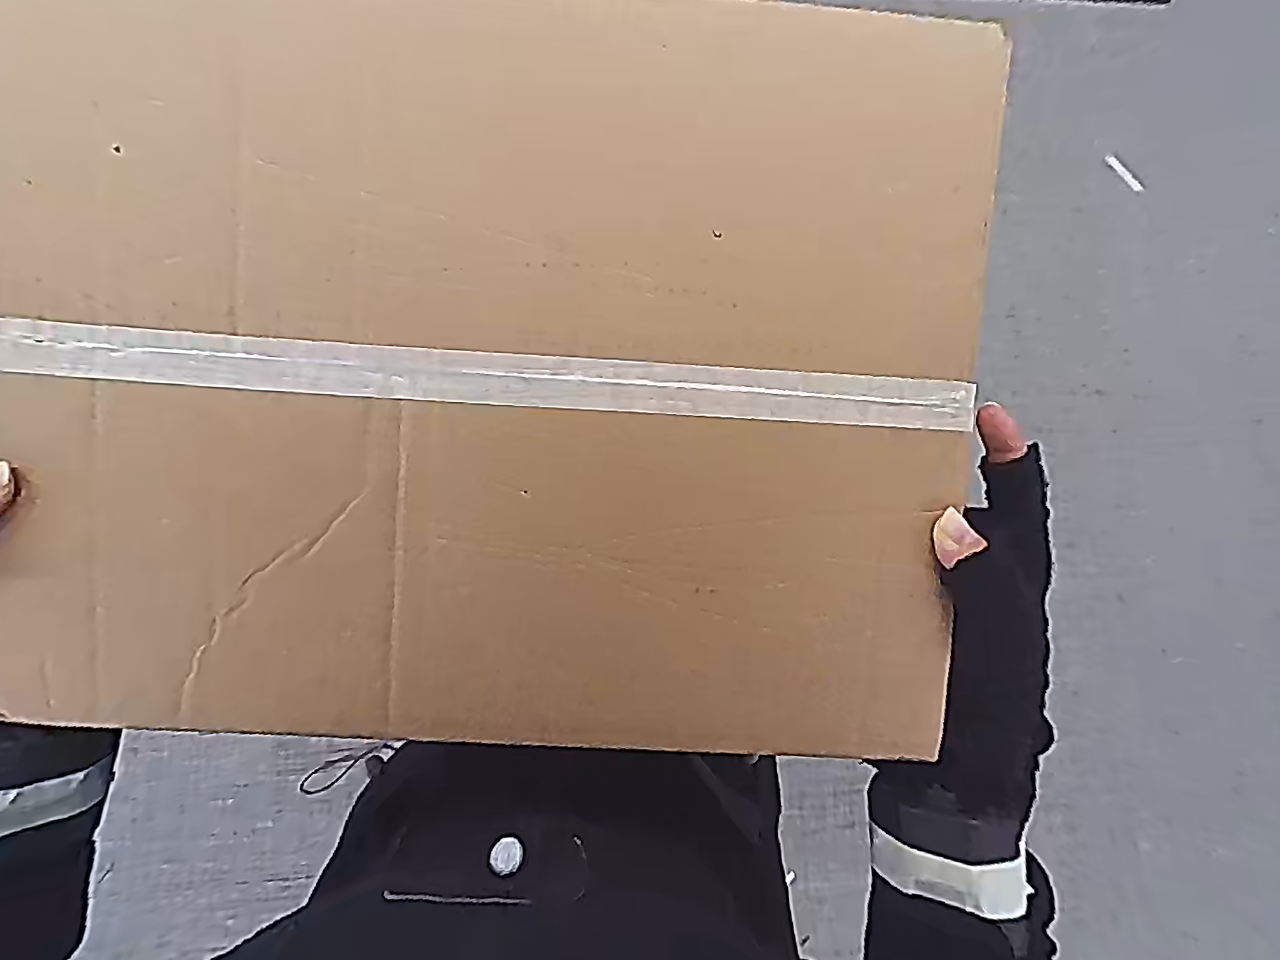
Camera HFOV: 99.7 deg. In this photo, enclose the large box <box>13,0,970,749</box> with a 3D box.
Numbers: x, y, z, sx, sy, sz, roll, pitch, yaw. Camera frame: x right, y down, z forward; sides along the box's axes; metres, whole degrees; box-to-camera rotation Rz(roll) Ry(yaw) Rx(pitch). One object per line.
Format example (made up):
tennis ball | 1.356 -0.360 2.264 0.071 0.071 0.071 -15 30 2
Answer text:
large box | -0.065 -0.046 0.385 0.408 0.320 0.320 4 93 -2
